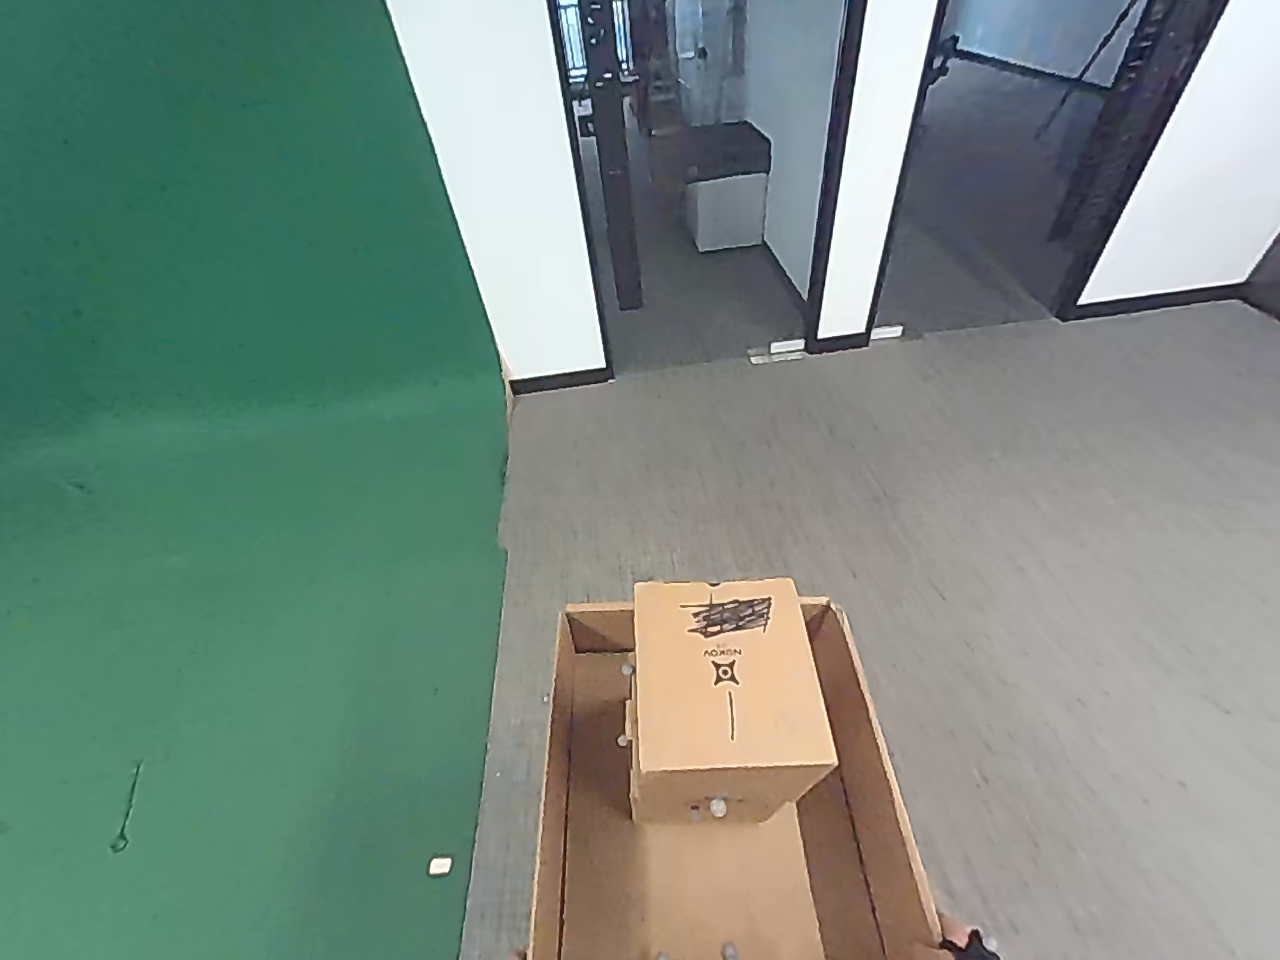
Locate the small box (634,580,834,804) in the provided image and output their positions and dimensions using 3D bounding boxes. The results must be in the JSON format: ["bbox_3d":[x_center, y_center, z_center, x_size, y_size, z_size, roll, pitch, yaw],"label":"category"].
[{"bbox_3d":[0.078,0.221,0.561,0.168,0.176,0.179,-1,51,-1],"label":"small box"}]

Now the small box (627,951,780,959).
[{"bbox_3d":[0.072,0.550,0.499,0.179,0.176,0.168,2,49,1],"label":"small box"}]
